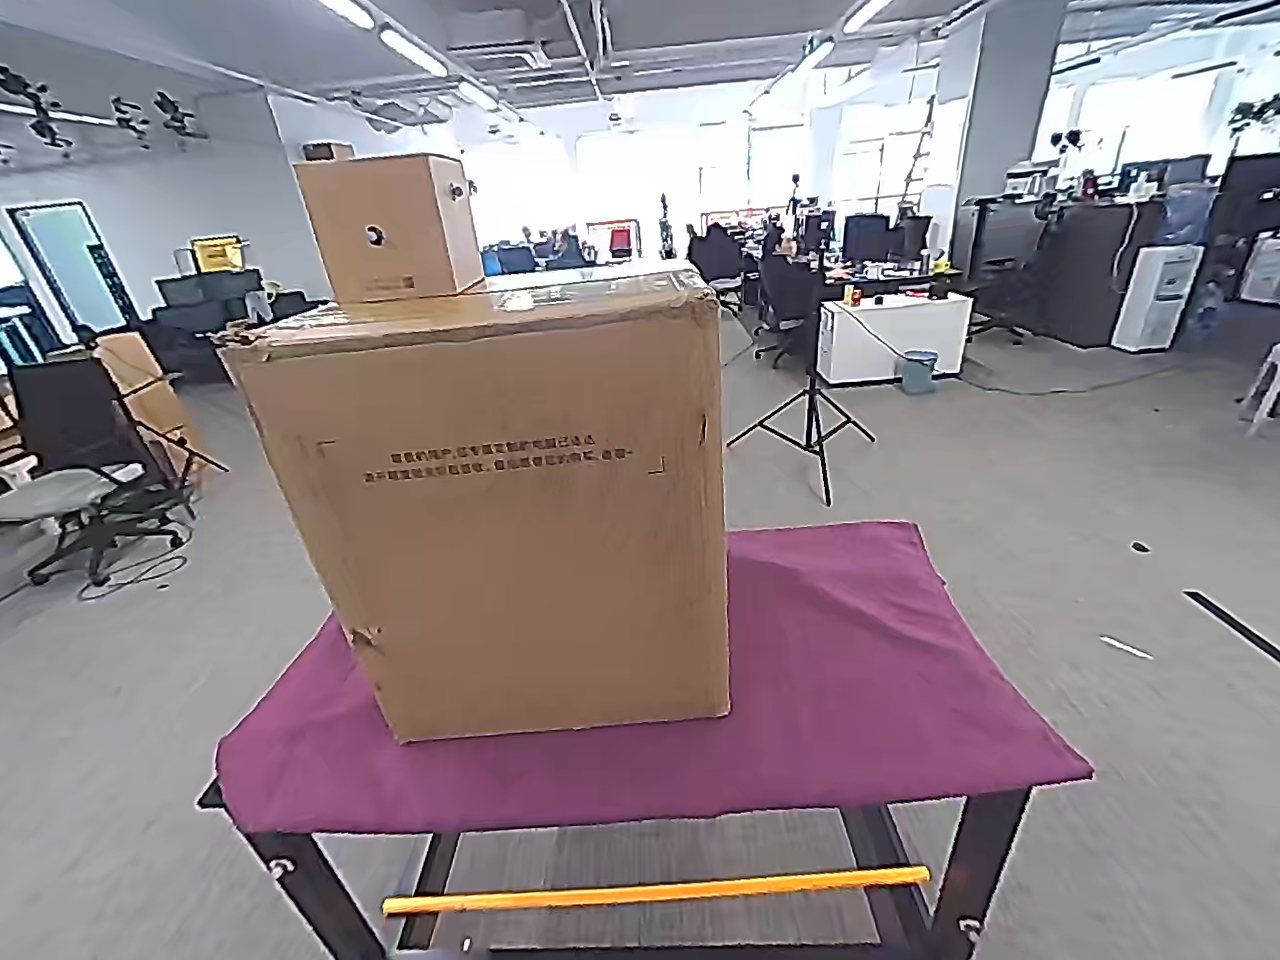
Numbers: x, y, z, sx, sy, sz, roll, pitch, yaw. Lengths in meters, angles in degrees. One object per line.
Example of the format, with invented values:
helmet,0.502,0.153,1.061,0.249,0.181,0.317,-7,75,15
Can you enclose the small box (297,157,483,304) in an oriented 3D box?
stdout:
small box,-0.332,-0.347,0.764,0.168,0.176,0.179,-4,27,0
